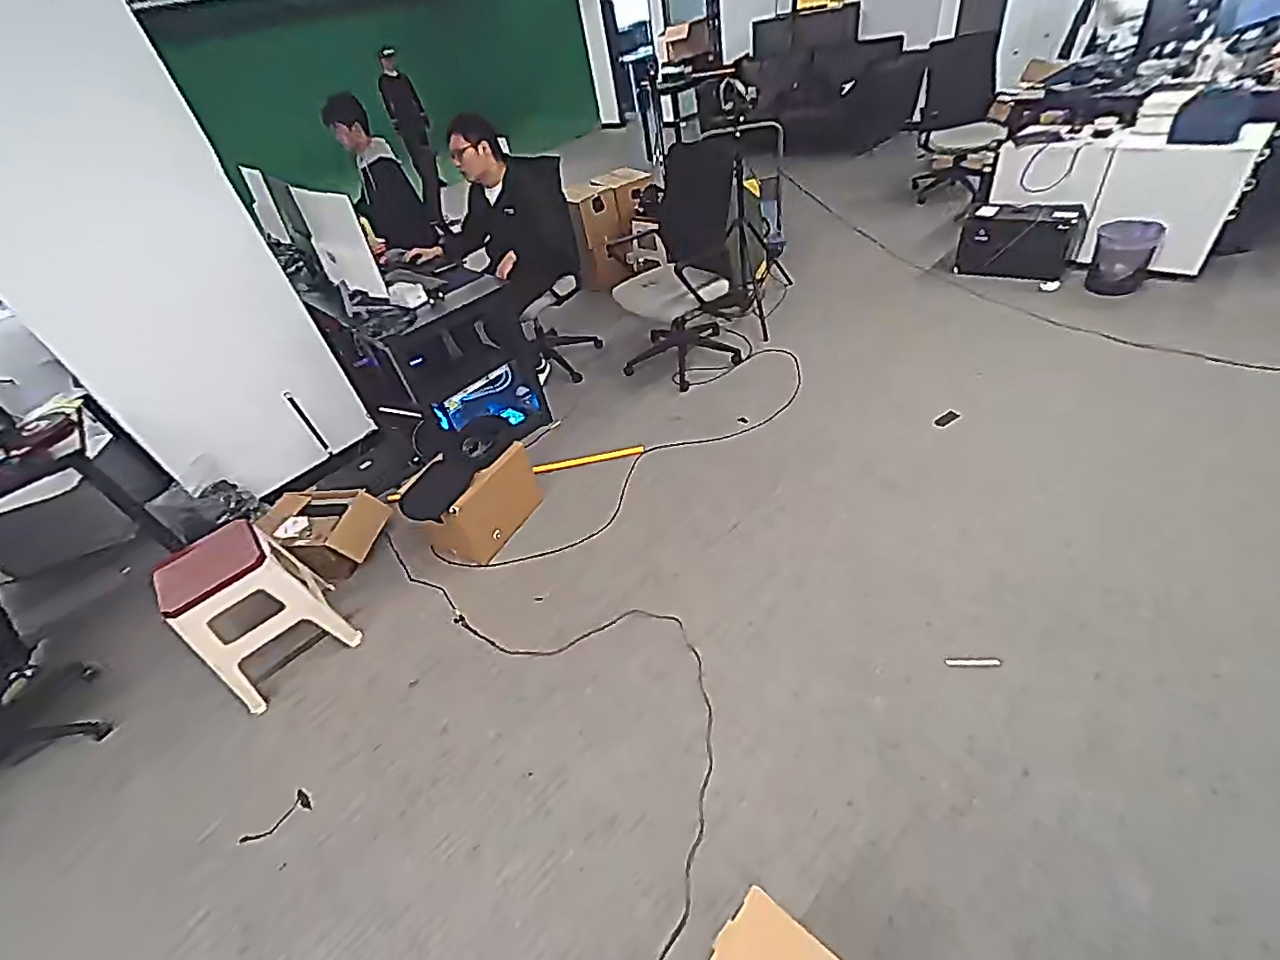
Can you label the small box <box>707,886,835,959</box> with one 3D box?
[{"bbox_3d":[0.197,0.763,0.800,0.179,0.176,0.168,26,53,36],"label":"small box"}]
